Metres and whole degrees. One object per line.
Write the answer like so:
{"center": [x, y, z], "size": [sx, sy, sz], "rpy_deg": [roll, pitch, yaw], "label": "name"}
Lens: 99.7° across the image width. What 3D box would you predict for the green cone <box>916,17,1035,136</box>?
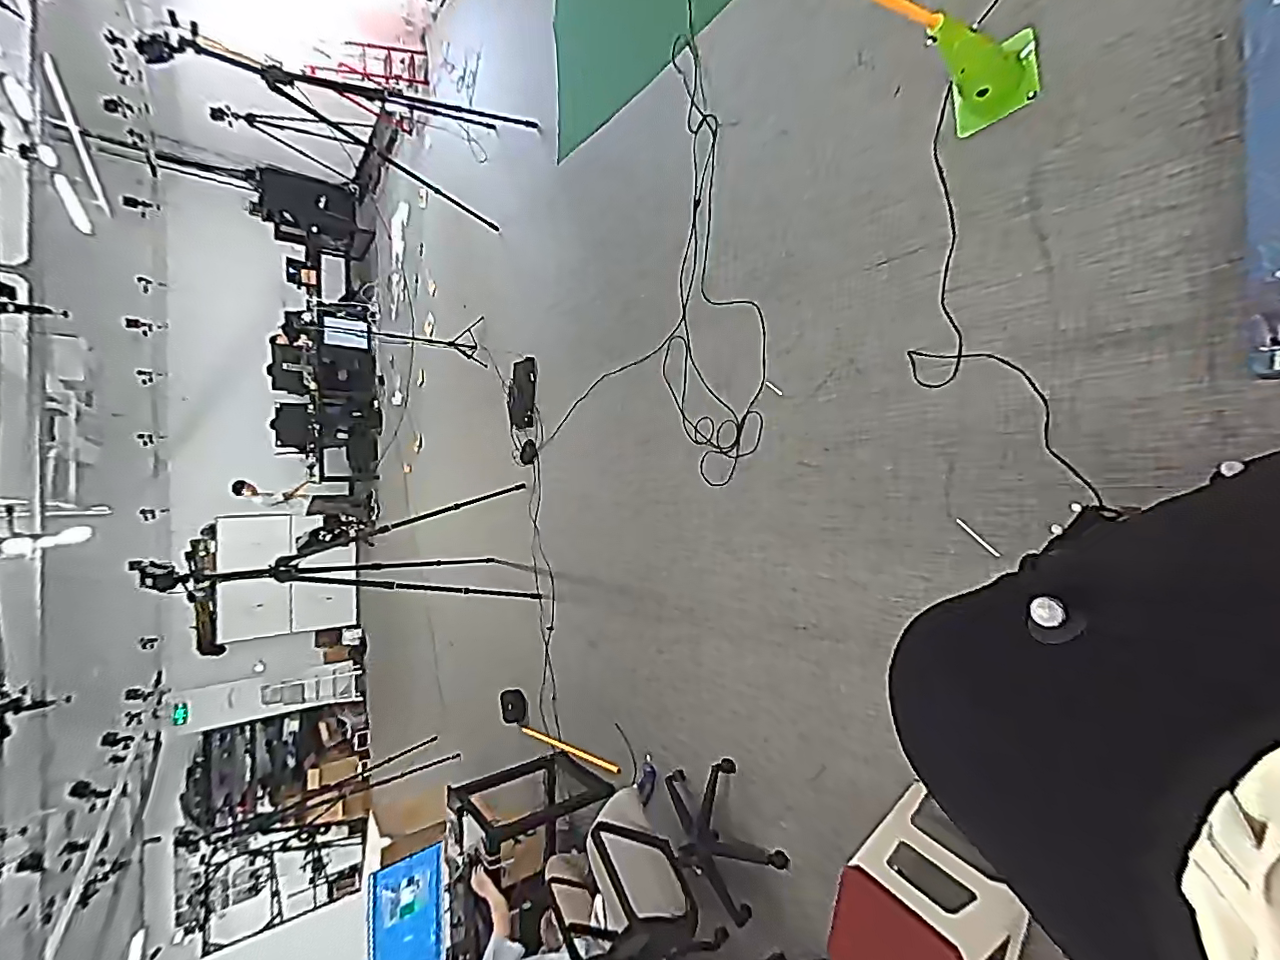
{"center": [0.828, -1.092, 1.391], "size": [0.202, 0.368, 0.200], "rpy_deg": [-9, 83, 54], "label": "green cone"}
